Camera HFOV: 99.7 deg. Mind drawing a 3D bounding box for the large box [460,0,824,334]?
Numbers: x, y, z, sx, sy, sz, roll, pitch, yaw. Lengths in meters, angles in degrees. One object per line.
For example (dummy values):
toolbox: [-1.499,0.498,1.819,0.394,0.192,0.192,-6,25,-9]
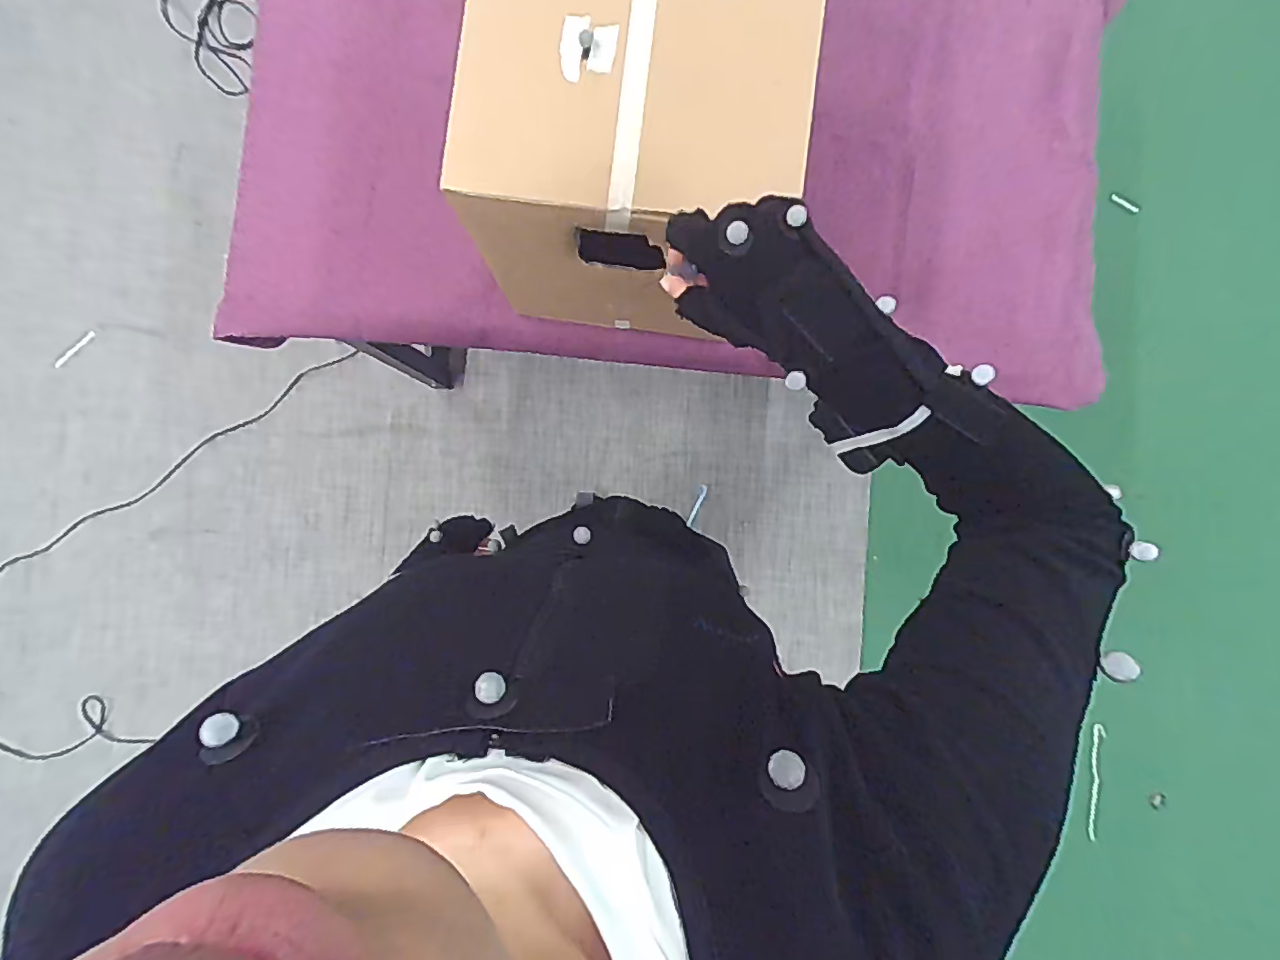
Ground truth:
large box: [0.007,-0.429,0.637,0.320,0.320,0.408,8,89,-1]
